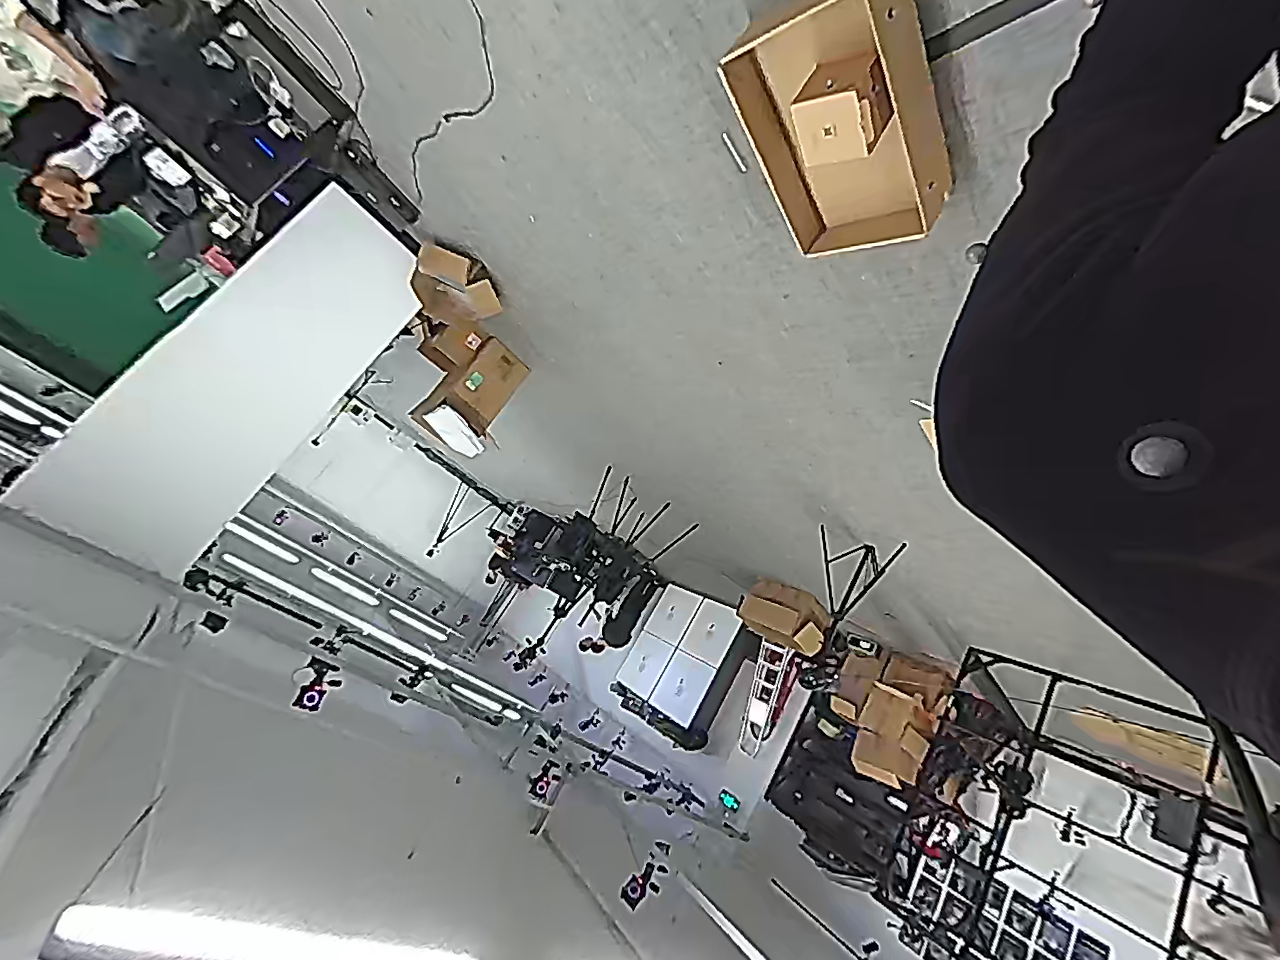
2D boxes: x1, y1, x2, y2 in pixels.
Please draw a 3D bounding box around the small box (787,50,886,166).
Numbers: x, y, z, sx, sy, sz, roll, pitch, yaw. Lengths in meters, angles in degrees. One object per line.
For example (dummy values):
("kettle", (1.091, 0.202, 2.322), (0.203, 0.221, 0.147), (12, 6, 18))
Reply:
("small box", (0.503, -0.935, 1.364), (0.179, 0.176, 0.168), (17, 158, 40))
